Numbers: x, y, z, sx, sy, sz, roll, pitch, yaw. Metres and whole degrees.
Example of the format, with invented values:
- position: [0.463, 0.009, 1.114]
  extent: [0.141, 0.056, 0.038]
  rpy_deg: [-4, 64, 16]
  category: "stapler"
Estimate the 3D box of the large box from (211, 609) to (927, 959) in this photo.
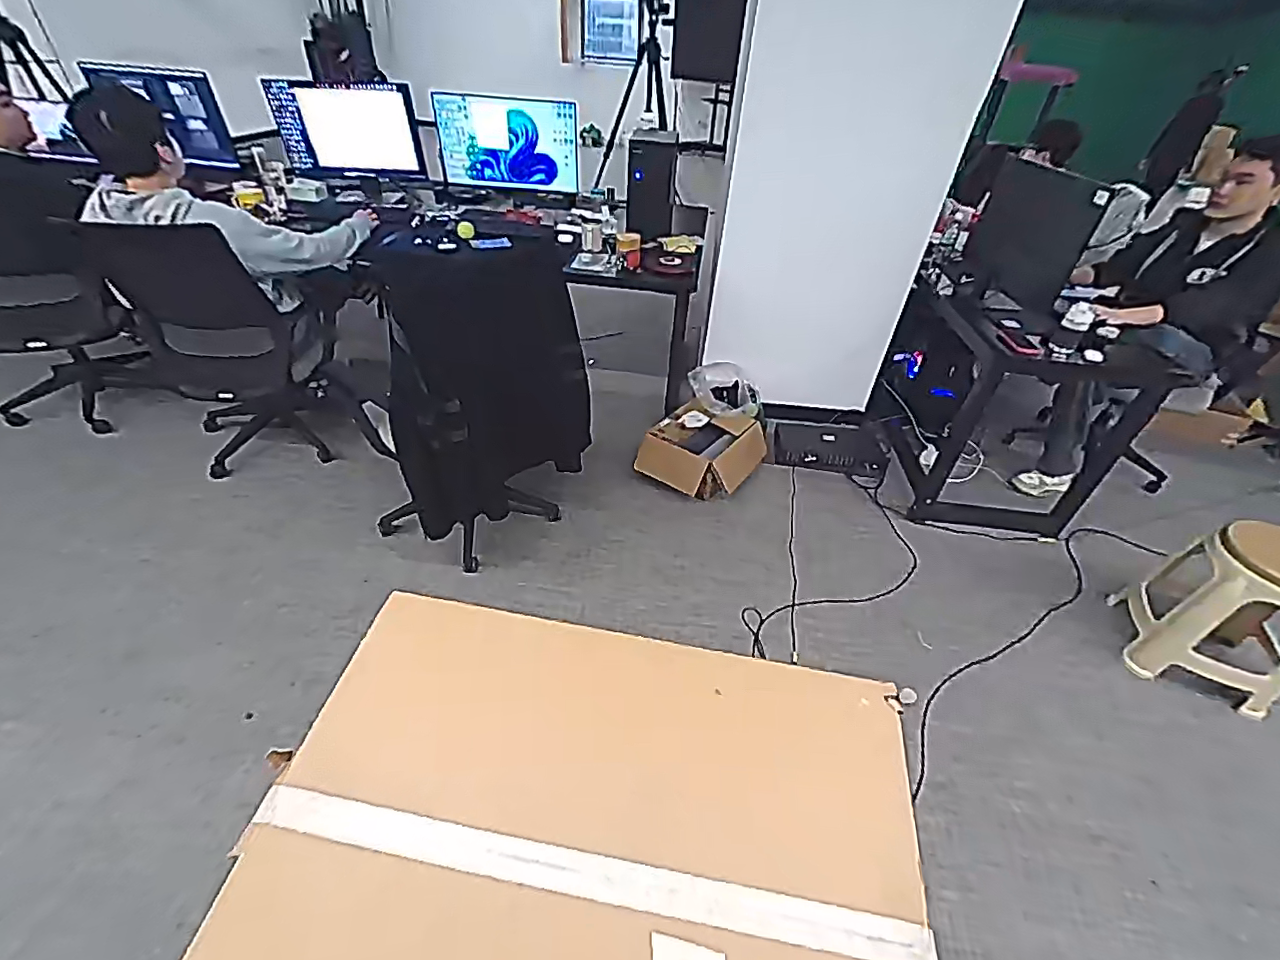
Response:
- position: [-0.037, 0.344, 0.437]
  extent: [0.408, 0.320, 0.320]
  rpy_deg: [9, 48, 4]
  category: "large box"
